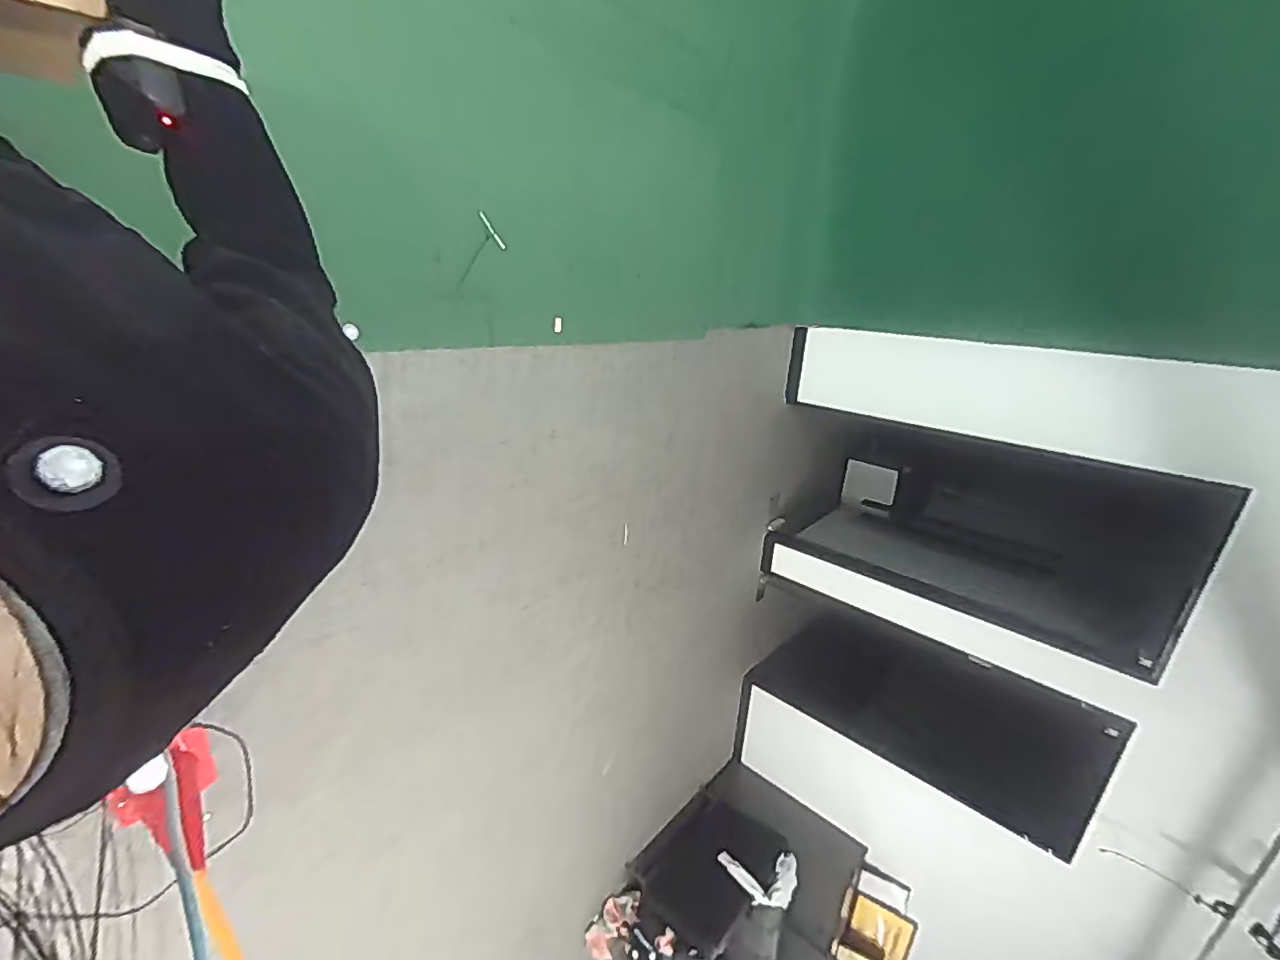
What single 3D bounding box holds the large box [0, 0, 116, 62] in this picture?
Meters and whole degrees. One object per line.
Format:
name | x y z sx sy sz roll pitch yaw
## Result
large box | -0.622 -0.478 0.292 0.408 0.320 0.320 -22 124 -46
